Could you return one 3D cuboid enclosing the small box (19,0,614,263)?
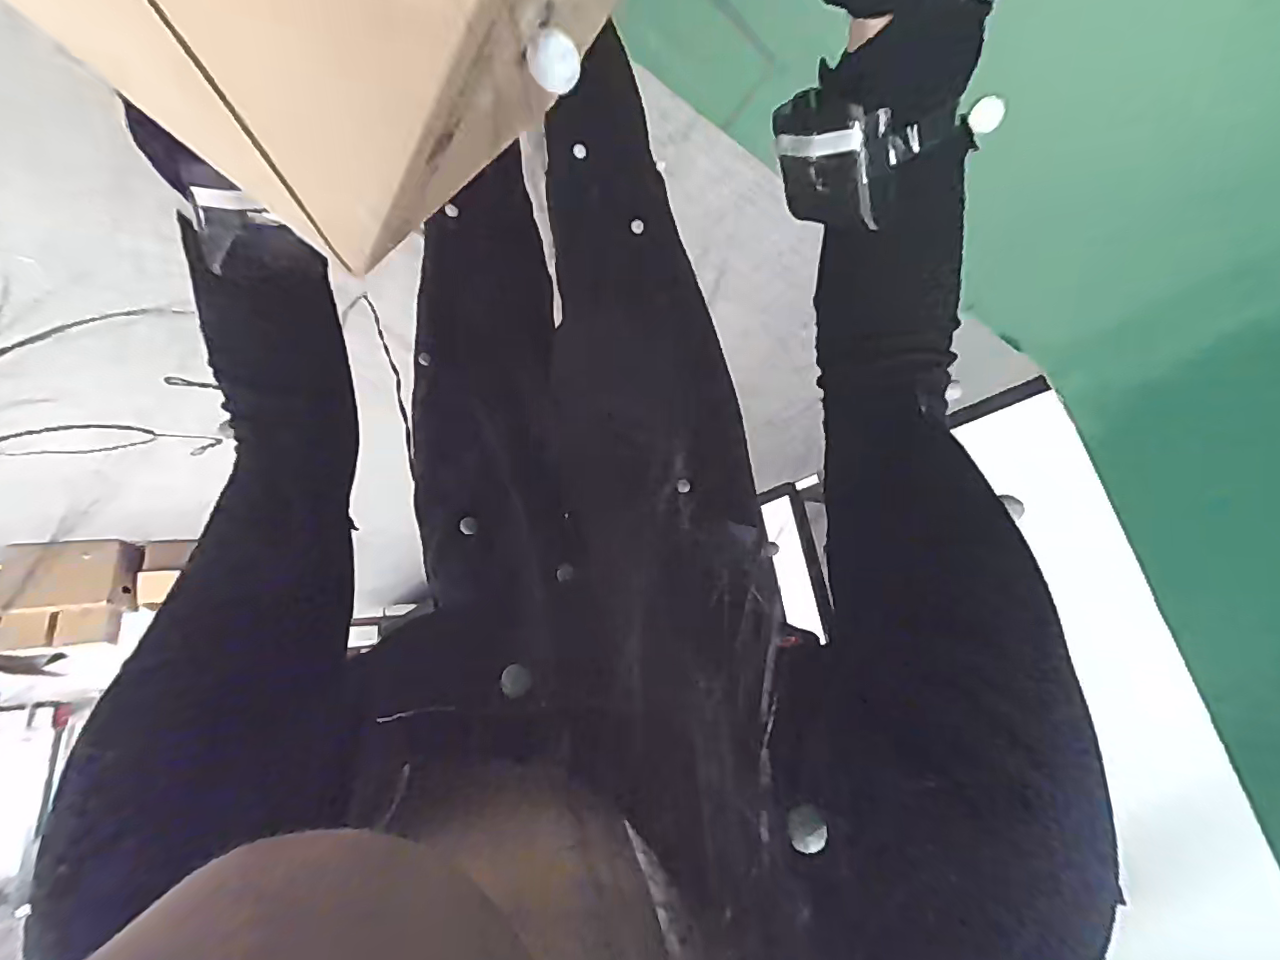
[{"bbox_3d":[-0.089,-0.206,0.149,0.179,0.176,0.168,40,147,-23],"label":"small box"}]
